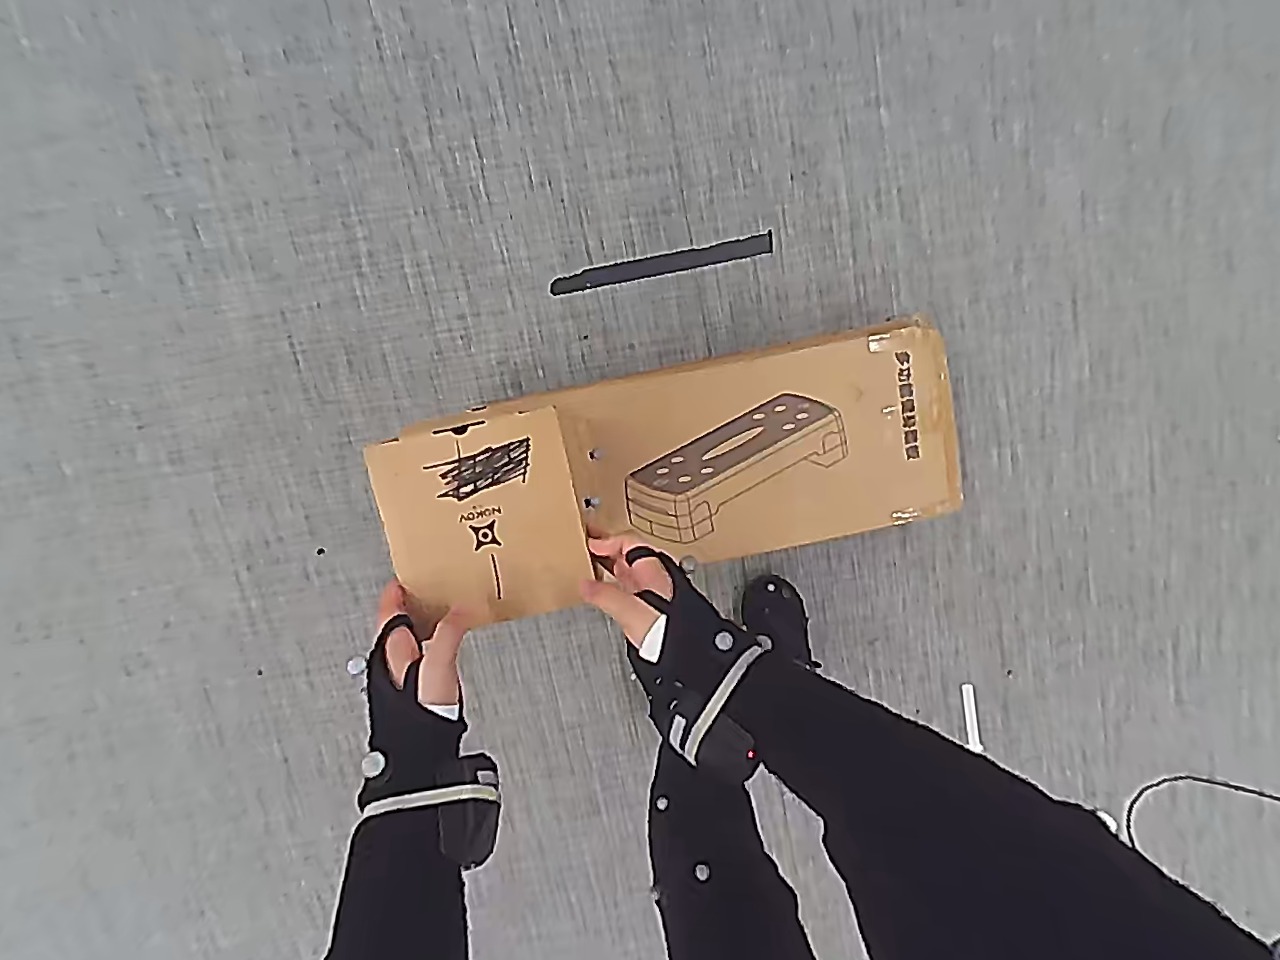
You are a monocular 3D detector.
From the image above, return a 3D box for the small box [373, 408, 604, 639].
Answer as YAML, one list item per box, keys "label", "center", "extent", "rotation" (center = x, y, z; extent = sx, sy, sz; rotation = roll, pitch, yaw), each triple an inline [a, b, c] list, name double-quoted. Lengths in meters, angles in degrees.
- label: "small box"
  center: [-0.134, 0.033, 0.545]
  extent: [0.168, 0.176, 0.179]
  rotation: [-13, 96, -1]

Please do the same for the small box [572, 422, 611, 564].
- label: "small box"
  center: [-0.137, 0.022, 0.717]
  extent: [0.168, 0.176, 0.179]
  rotation: [-12, 99, -2]
